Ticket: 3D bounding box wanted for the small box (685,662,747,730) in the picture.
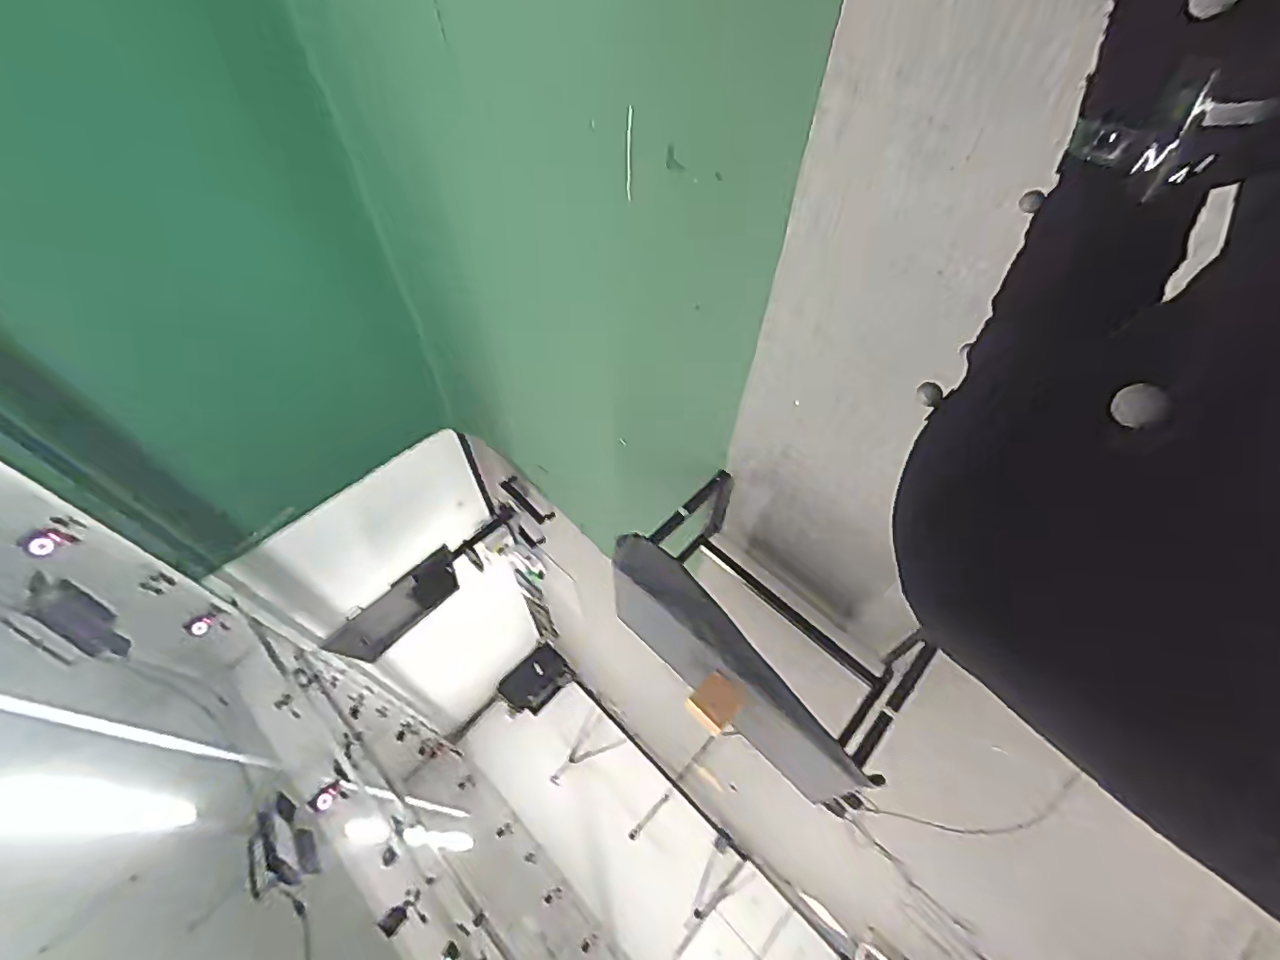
[{"bbox_3d":[0.308,0.874,2.194,0.179,0.176,0.168,39,153,22],"label":"small box"}]
